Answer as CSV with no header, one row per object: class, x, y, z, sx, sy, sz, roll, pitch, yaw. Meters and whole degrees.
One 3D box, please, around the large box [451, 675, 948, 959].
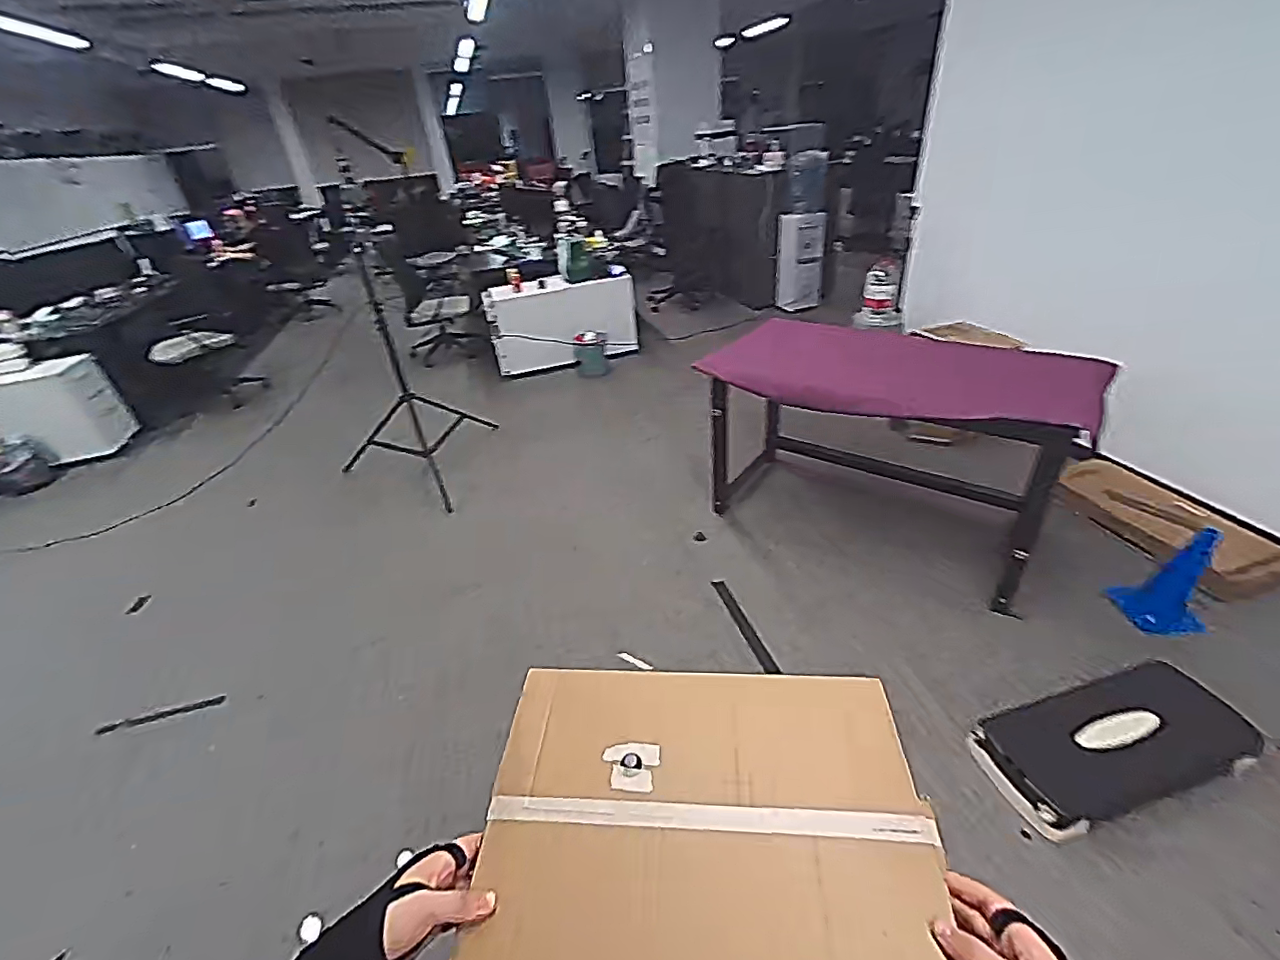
large box,0.064,0.442,0.599,0.408,0.320,0.320,-3,35,7
